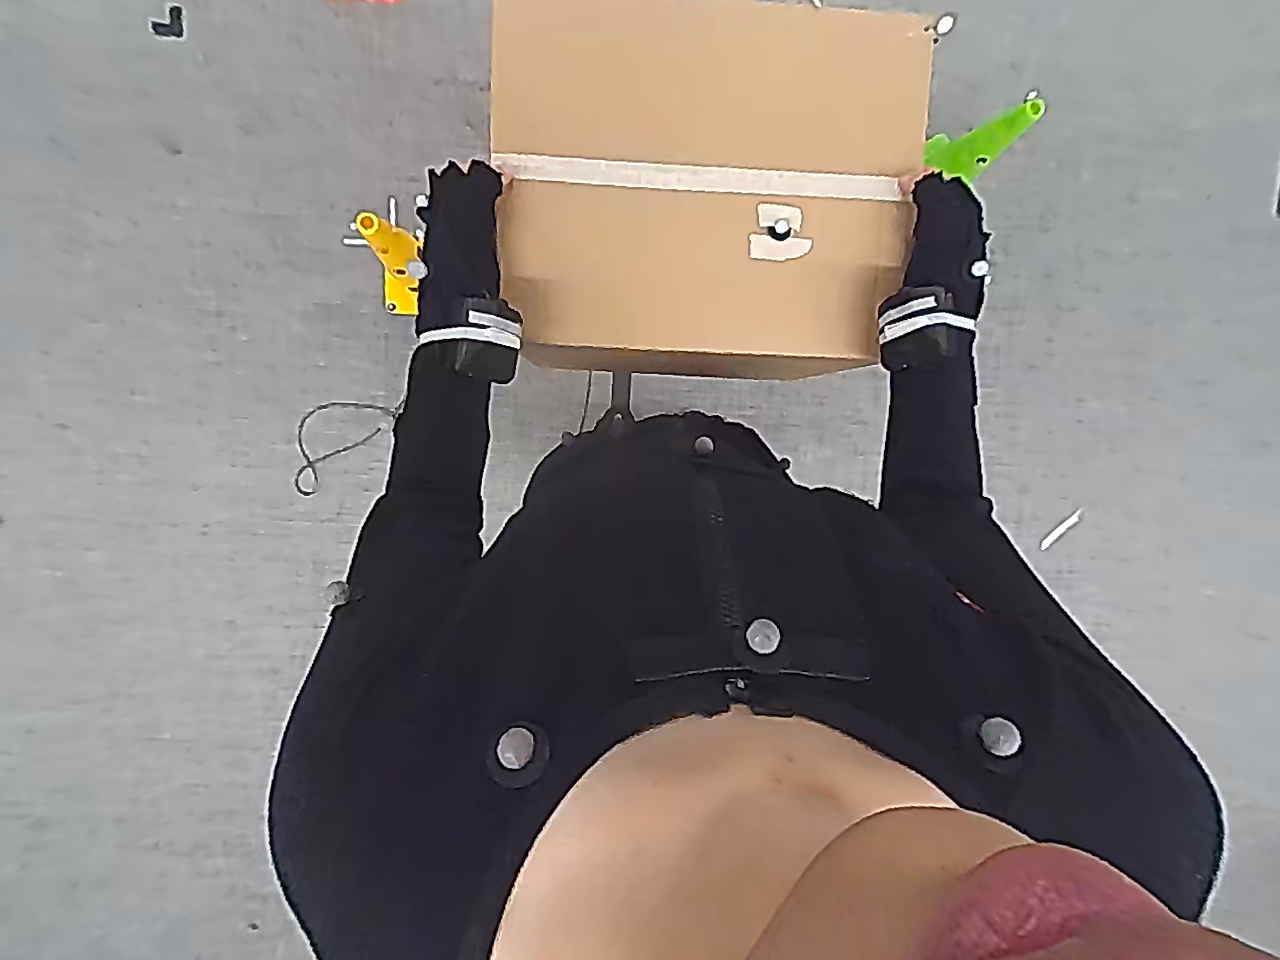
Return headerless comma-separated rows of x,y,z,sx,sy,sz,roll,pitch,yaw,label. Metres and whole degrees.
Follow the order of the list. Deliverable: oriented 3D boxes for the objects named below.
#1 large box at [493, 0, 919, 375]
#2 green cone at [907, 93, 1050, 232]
0.052,-0.300,0.658,0.408,0.320,0.320,2,97,-4,large box
0.794,-0.777,1.274,0.202,0.368,0.200,-35,98,-2,green cone
